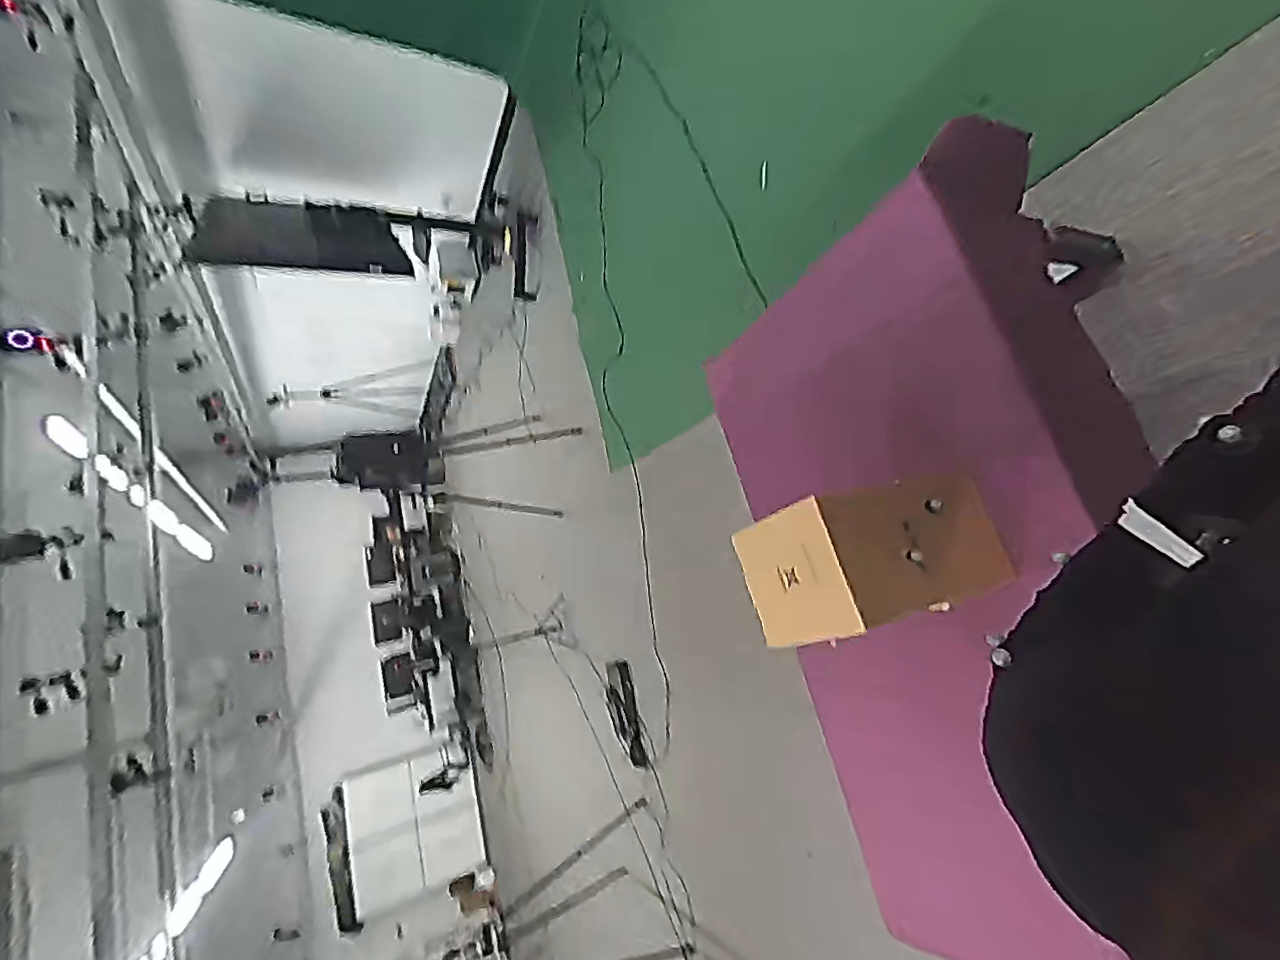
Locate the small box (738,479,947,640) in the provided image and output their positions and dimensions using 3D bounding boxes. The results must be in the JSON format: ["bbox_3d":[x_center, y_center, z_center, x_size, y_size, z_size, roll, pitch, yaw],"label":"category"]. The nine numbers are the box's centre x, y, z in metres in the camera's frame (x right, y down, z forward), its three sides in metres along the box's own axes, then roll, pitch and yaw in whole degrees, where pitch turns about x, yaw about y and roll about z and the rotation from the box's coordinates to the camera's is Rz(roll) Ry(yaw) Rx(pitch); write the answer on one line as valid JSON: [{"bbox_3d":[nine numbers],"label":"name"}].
[{"bbox_3d":[0.270,0.109,0.738,0.179,0.176,0.168,-40,63,56],"label":"small box"}]

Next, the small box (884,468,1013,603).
[{"bbox_3d":[0.412,0.088,0.817,0.168,0.176,0.179,-39,63,57],"label":"small box"}]
